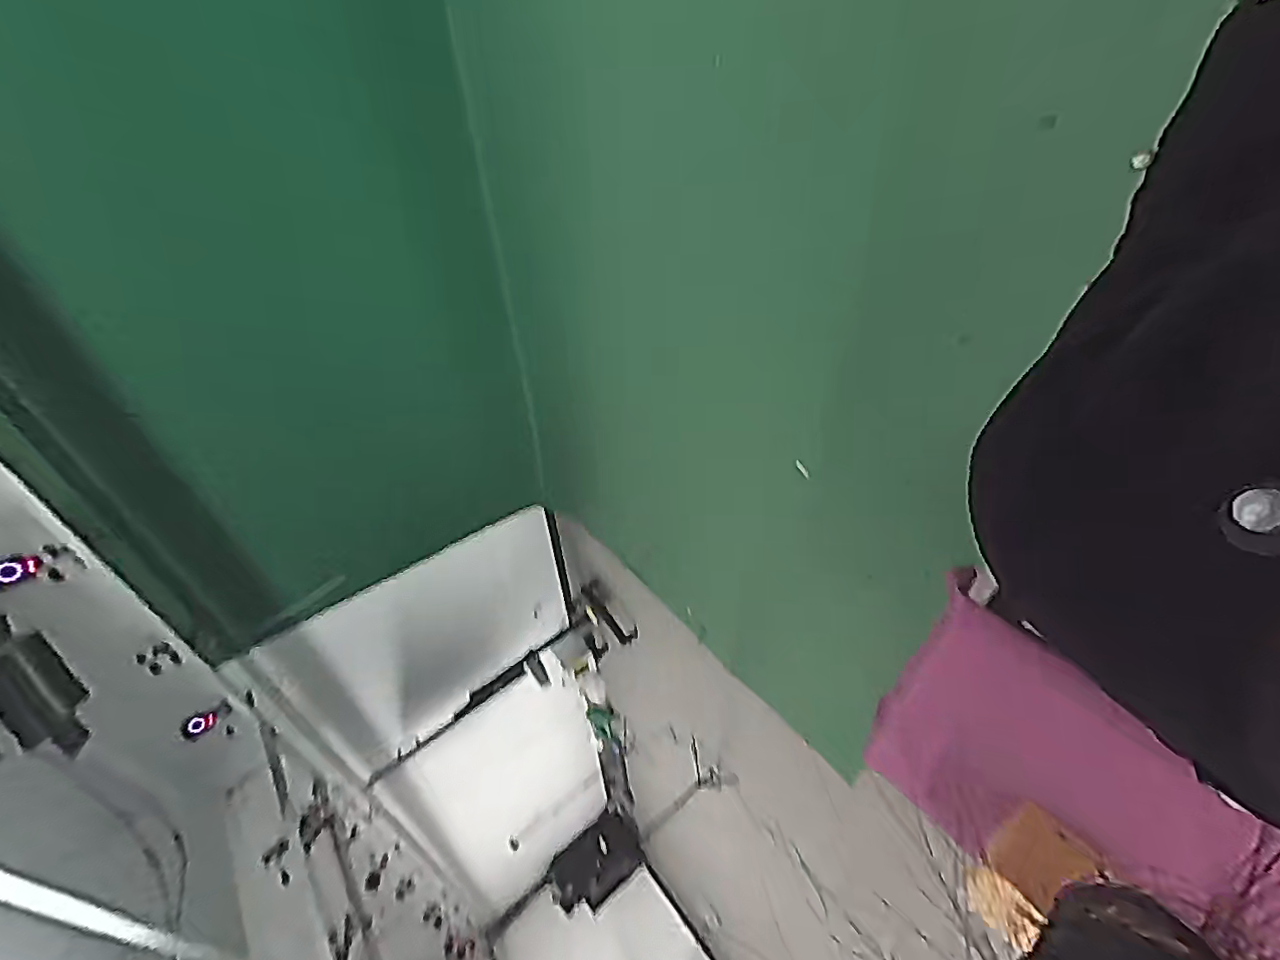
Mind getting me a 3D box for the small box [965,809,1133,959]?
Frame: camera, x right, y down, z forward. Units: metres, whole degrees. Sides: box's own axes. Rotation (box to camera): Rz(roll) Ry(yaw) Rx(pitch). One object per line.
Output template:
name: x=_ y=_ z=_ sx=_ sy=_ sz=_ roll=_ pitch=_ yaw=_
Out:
small box: x=0.727 y=0.736 z=0.965 sx=0.168 sy=0.176 sz=0.179 roll=36 pitch=144 yaw=39
